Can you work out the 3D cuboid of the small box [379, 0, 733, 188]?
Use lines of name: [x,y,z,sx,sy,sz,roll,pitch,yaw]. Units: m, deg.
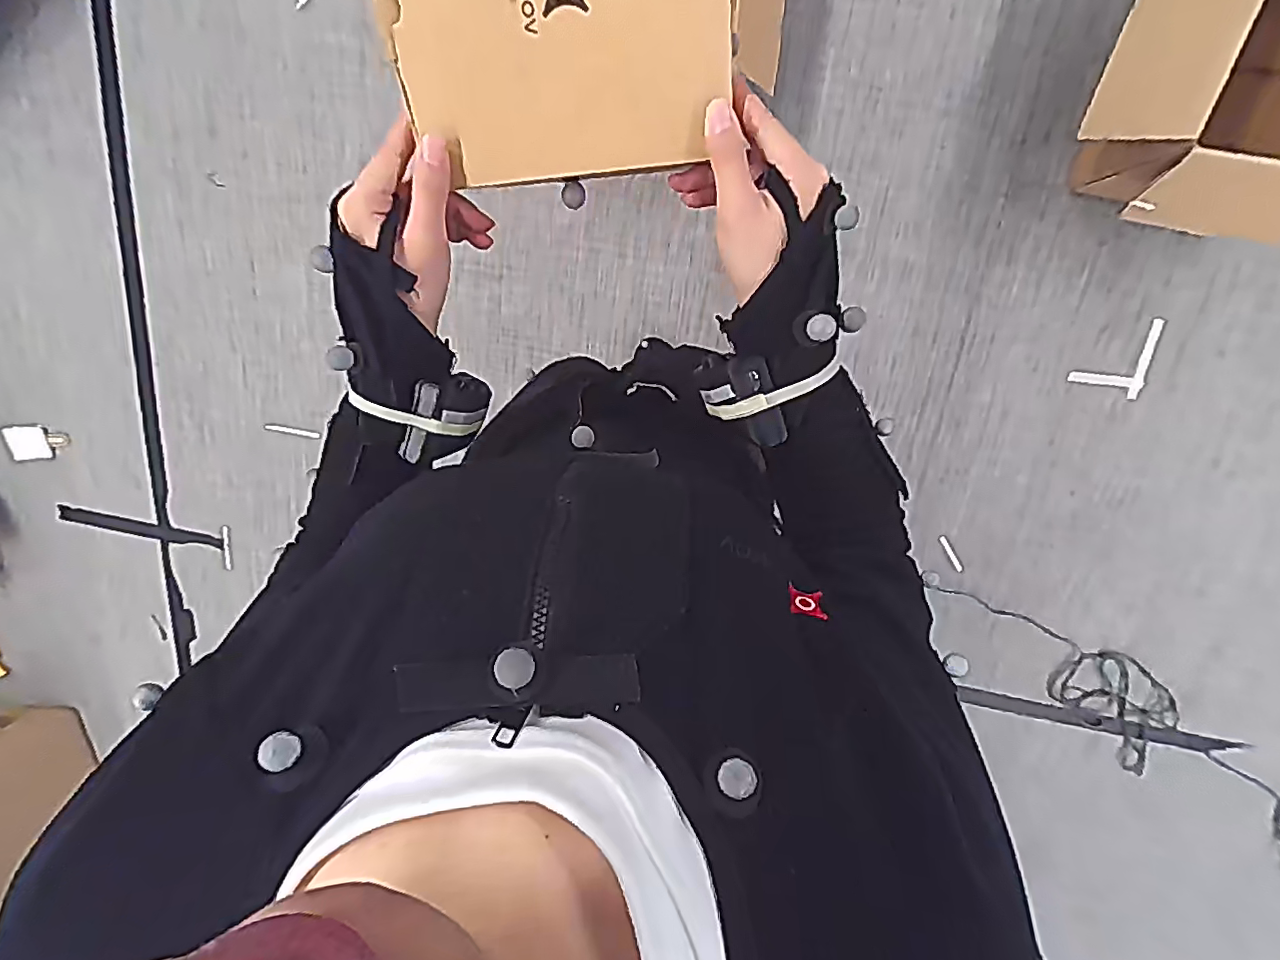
small box: [-0.043,-0.283,0.332,0.179,0.176,0.168,-5,119,3]
